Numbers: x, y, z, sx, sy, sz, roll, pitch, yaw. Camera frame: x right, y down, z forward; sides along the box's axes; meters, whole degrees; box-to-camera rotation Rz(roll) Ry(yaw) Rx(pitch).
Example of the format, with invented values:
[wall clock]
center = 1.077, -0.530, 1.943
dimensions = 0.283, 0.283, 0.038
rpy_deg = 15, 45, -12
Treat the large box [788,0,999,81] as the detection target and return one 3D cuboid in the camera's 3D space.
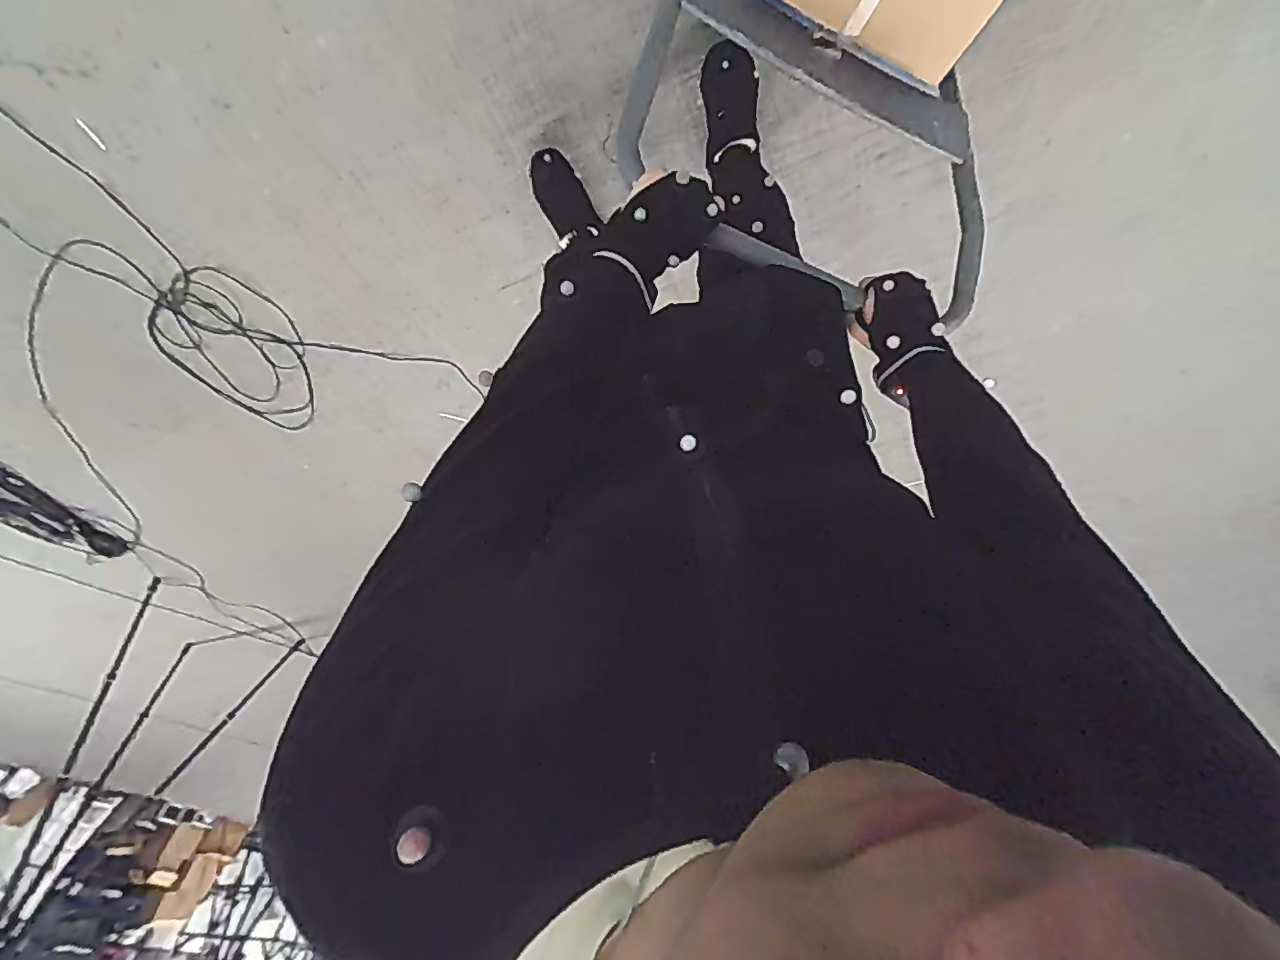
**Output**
[large box]
center = 0.375, -0.829, 0.660
dimensions = 0.320, 0.320, 0.408
rpy_deg = 18, 148, -13
